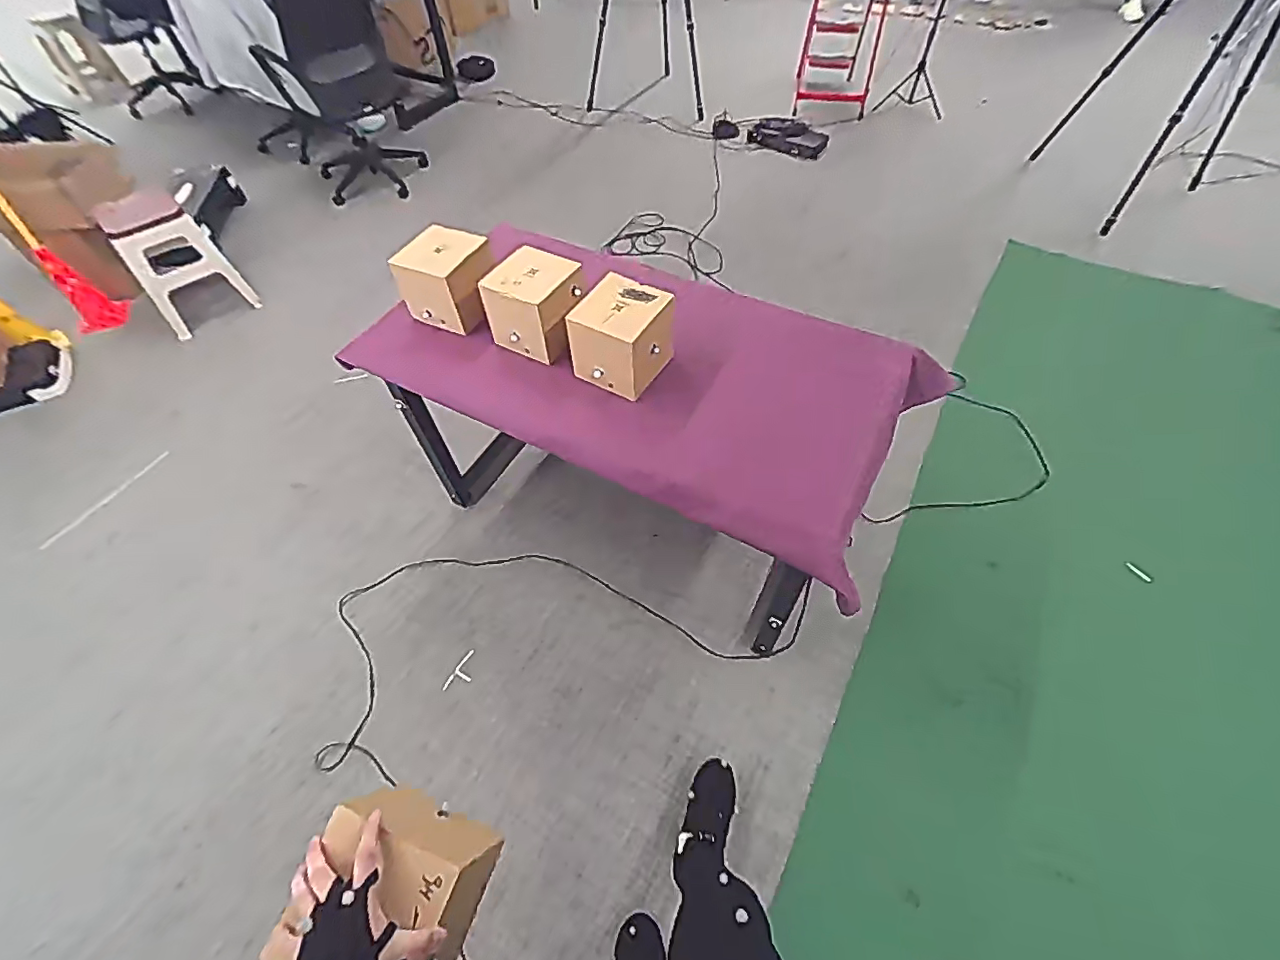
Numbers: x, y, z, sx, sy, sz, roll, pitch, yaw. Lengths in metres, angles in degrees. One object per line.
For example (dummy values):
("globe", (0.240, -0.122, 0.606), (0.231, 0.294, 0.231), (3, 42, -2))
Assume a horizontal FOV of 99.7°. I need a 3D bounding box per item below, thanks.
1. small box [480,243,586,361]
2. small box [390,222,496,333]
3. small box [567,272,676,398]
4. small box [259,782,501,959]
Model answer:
("small box", (-0.238, -0.412, 1.258), (0.168, 0.176, 0.179), (25, 60, 18))
("small box", (-0.464, -0.495, 1.324), (0.168, 0.176, 0.179), (20, 58, 16))
("small box", (-0.037, -0.315, 1.184), (0.168, 0.176, 0.179), (26, 61, 19))
("small box", (-0.306, 0.501, 0.676), (0.179, 0.176, 0.168), (19, 71, 13))
